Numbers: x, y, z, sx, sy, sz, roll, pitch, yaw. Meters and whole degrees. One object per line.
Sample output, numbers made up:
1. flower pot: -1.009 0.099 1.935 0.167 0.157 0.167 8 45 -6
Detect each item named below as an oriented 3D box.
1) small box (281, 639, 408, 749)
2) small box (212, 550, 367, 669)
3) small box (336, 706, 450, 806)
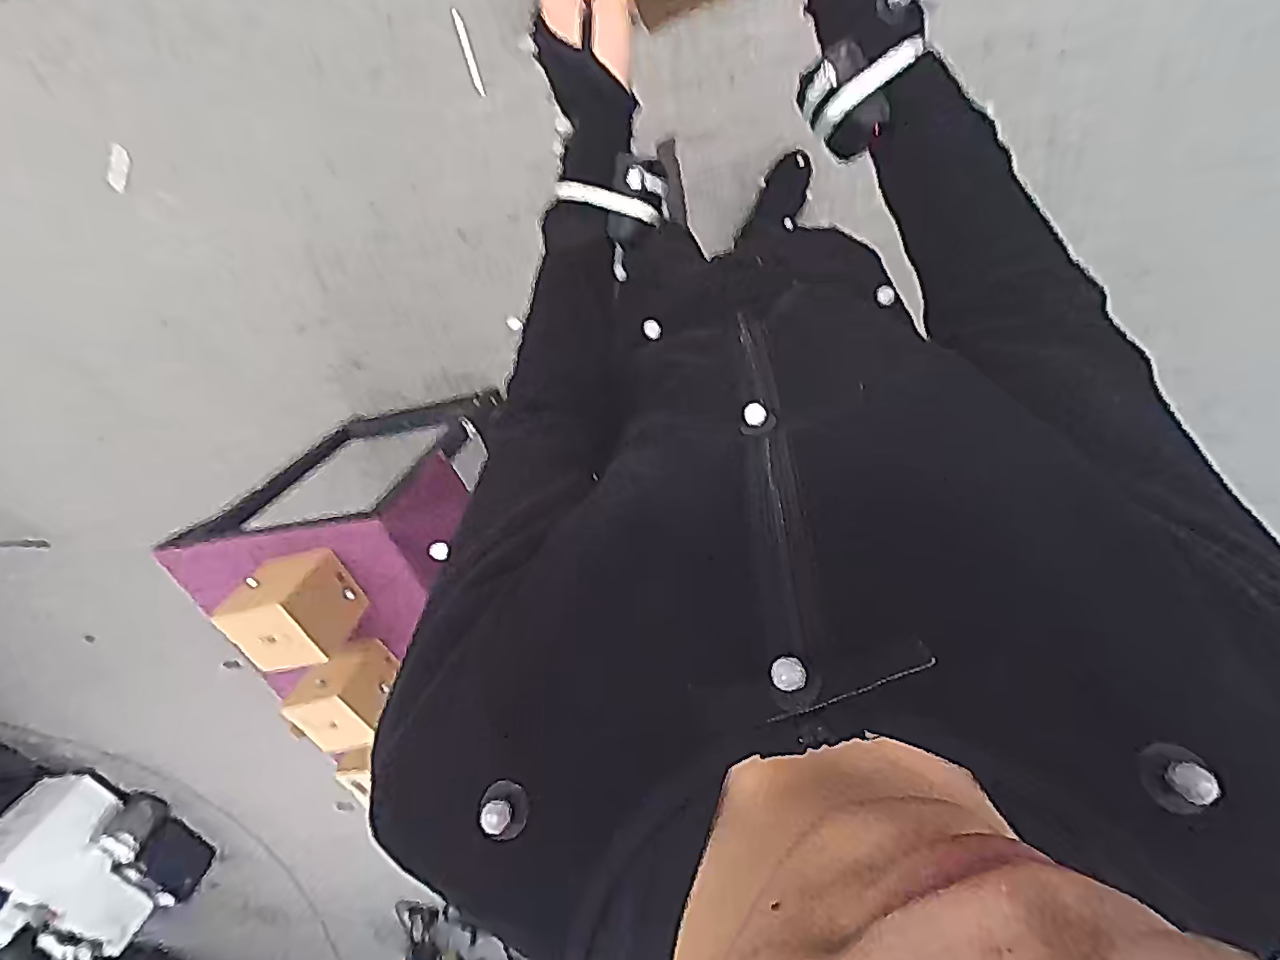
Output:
1. small box: -0.679 0.500 1.274 0.179 0.176 0.168 -17 118 17
2. small box: -0.723 0.269 1.136 0.179 0.176 0.168 -12 121 15
3. small box: -0.629 0.714 1.402 0.179 0.176 0.168 -13 119 14
